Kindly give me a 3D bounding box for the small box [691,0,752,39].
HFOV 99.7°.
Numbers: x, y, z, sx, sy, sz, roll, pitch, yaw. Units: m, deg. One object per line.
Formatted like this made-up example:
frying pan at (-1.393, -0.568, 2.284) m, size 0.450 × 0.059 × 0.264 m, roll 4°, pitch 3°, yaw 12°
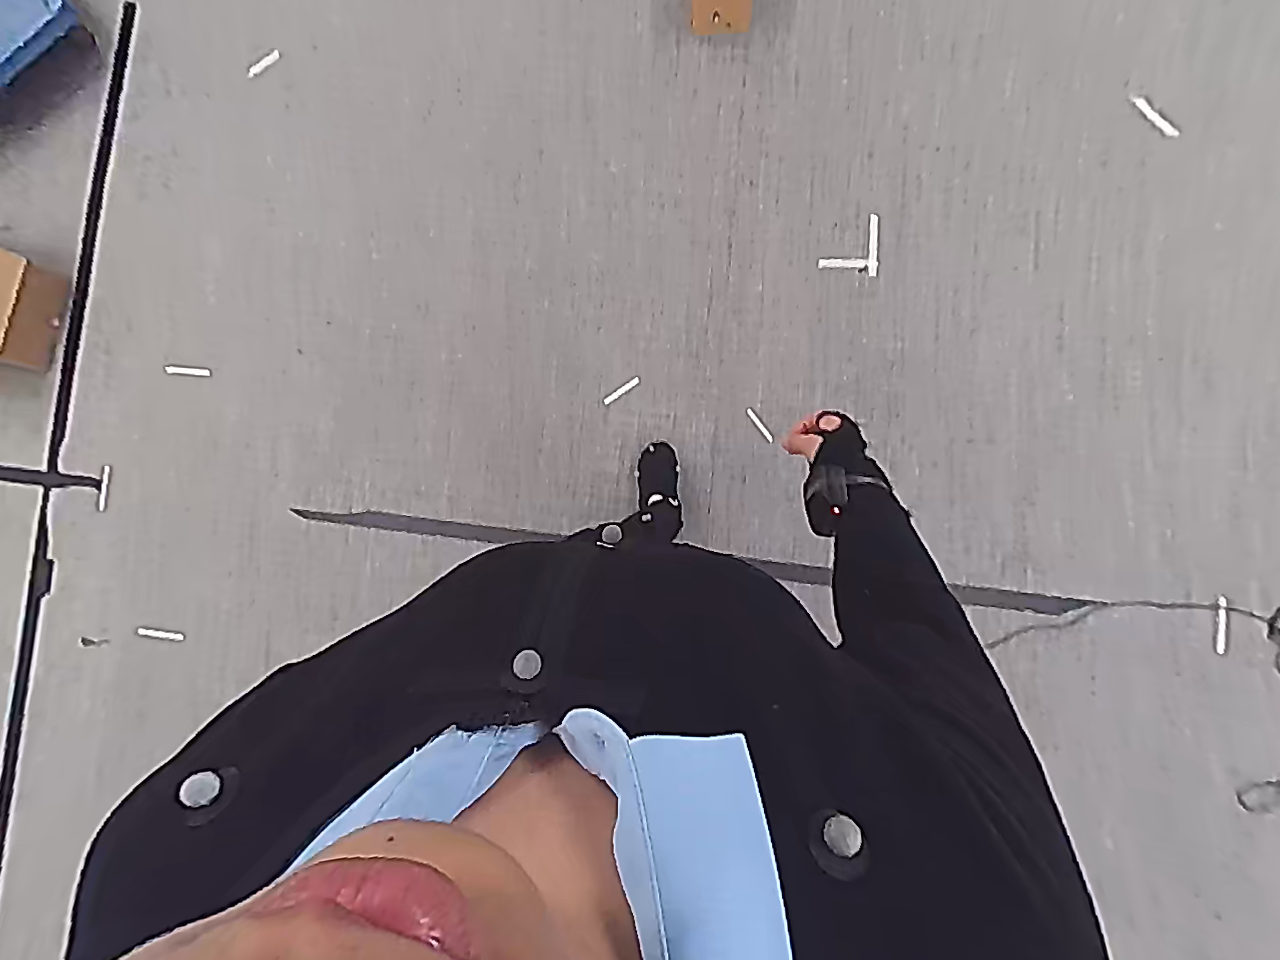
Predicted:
small box at (0.227, -1.384, 1.504) m, size 0.168 × 0.176 × 0.179 m, roll 0°, pitch 86°, yaw 6°
